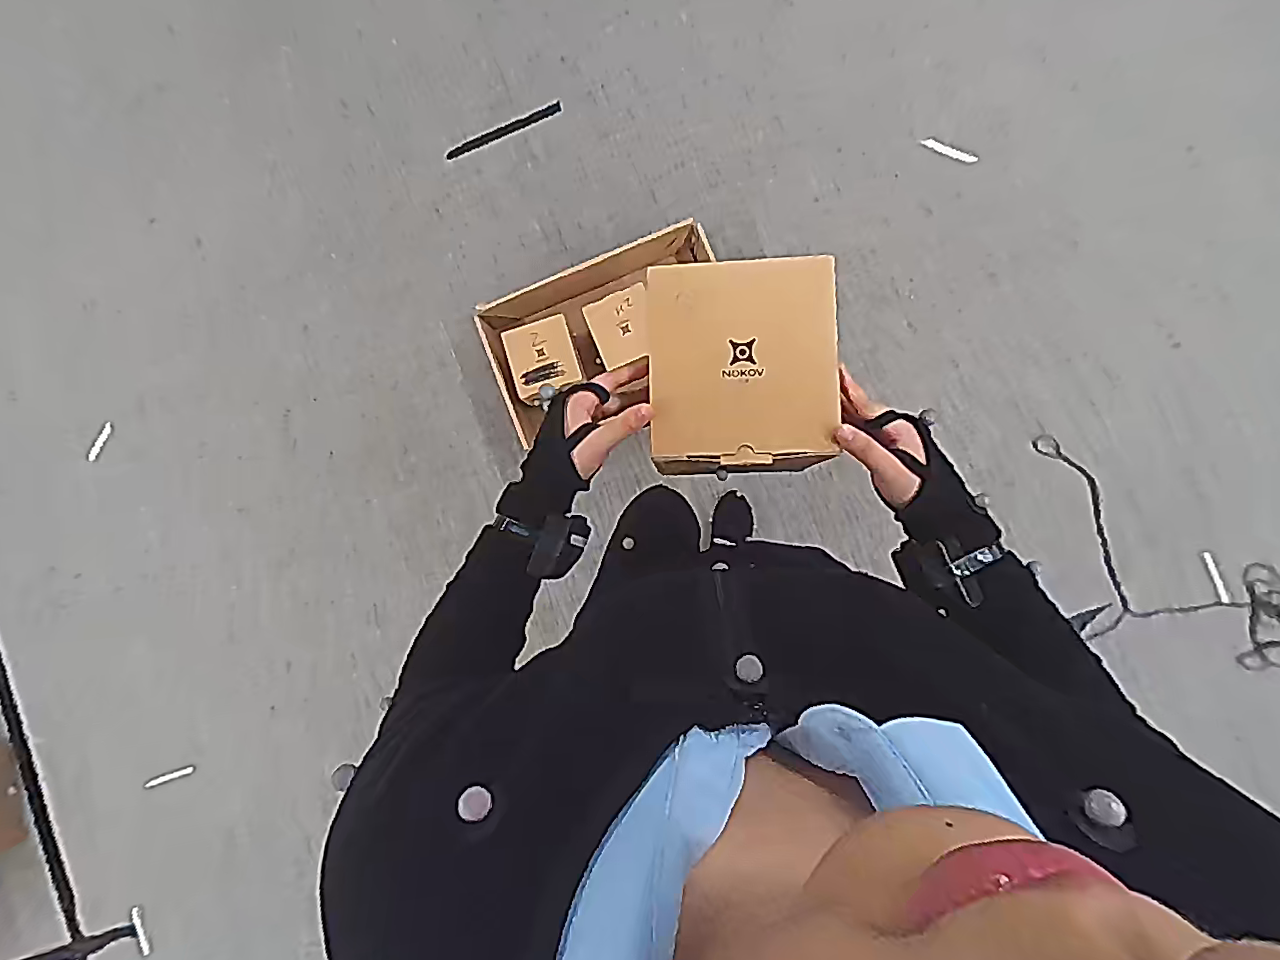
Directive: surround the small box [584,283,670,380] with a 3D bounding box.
[{"bbox_3d":[-0.026,-0.372,1.399,0.168,0.176,0.179,-22,87,3],"label":"small box"}]
